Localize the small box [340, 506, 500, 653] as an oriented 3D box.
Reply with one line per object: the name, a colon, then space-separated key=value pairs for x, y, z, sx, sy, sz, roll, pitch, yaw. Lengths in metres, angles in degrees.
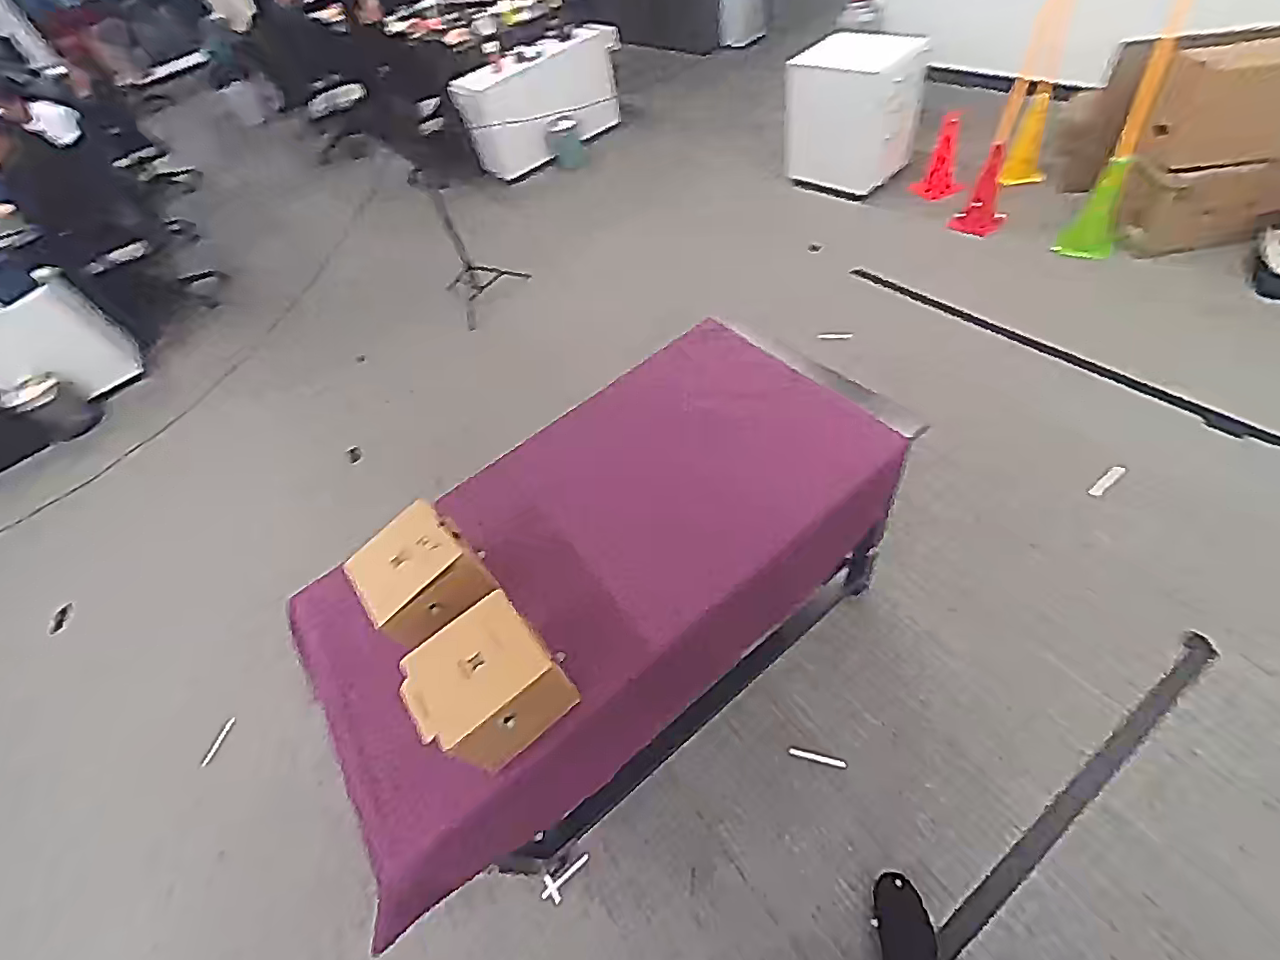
small box: x=-0.385 y=0.188 z=0.967 sx=0.179 sy=0.176 sz=0.168 roll=-39 pitch=55 yaw=-16

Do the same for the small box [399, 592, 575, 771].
small box: x=-0.227 y=0.315 z=0.834 sx=0.179 sy=0.176 sz=0.168 roll=-37 pitch=54 yaw=-15
